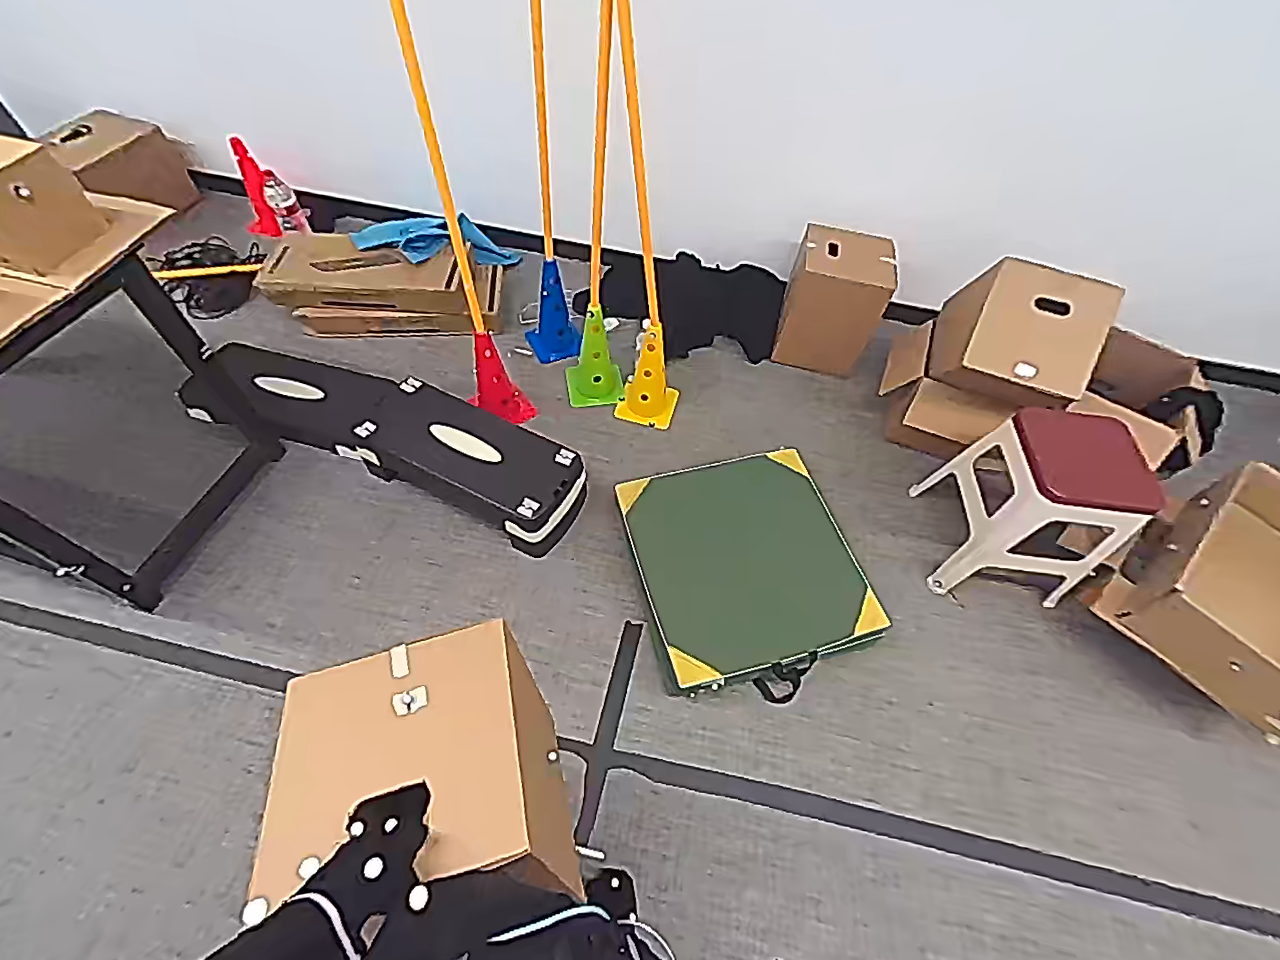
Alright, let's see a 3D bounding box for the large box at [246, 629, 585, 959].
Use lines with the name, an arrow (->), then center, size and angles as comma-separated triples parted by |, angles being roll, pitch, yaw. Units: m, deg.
large box -> -0.297, 0.494, 0.835 | 0.320, 0.408, 0.320 | -14, 46, -6
